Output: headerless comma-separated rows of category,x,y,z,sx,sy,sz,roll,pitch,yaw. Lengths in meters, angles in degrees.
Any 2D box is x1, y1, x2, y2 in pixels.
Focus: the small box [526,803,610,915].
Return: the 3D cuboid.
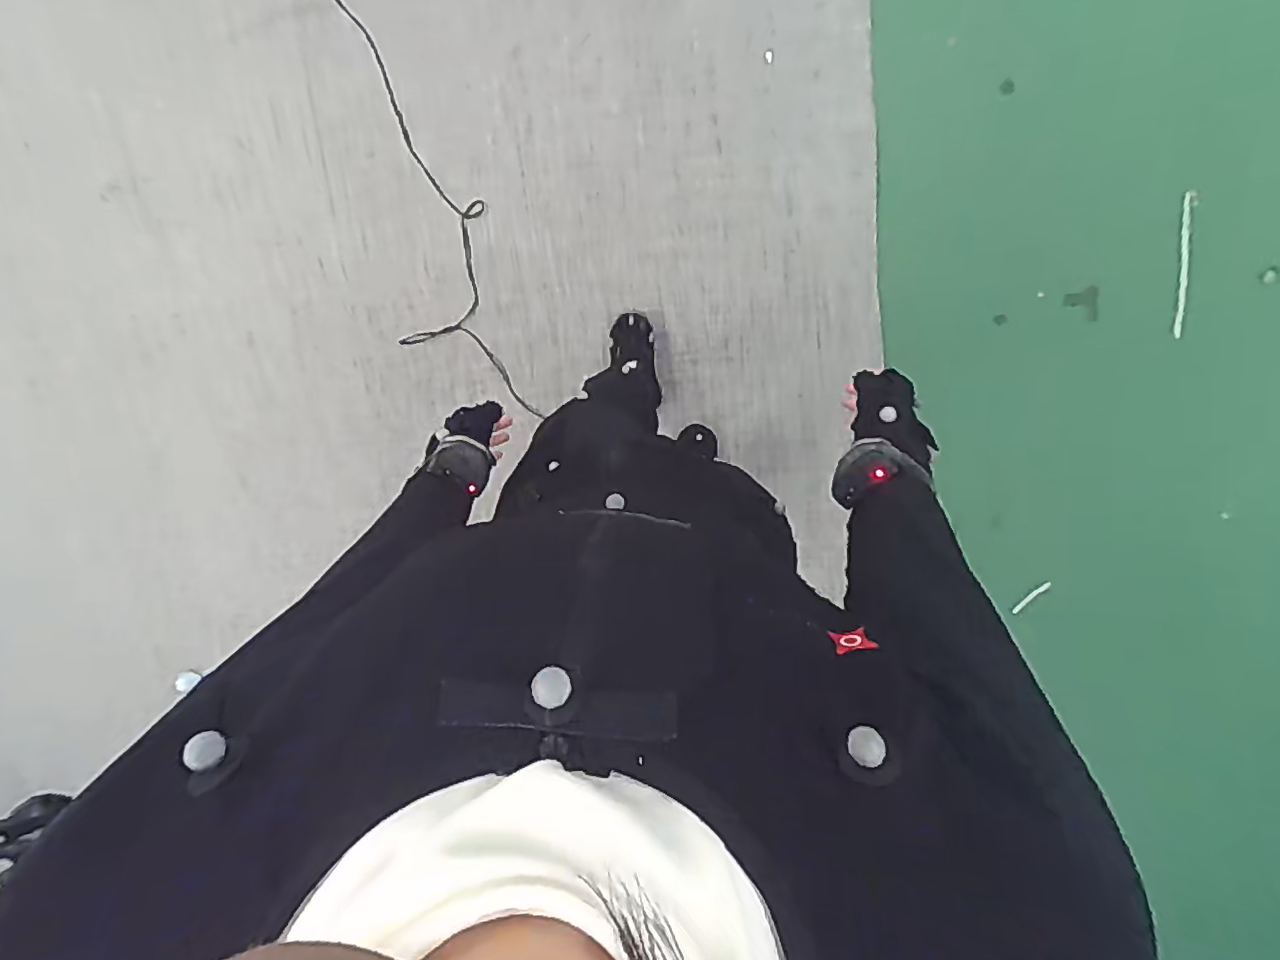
small box,-0.179,0.965,1.392,0.179,0.176,0.168,-1,101,7
